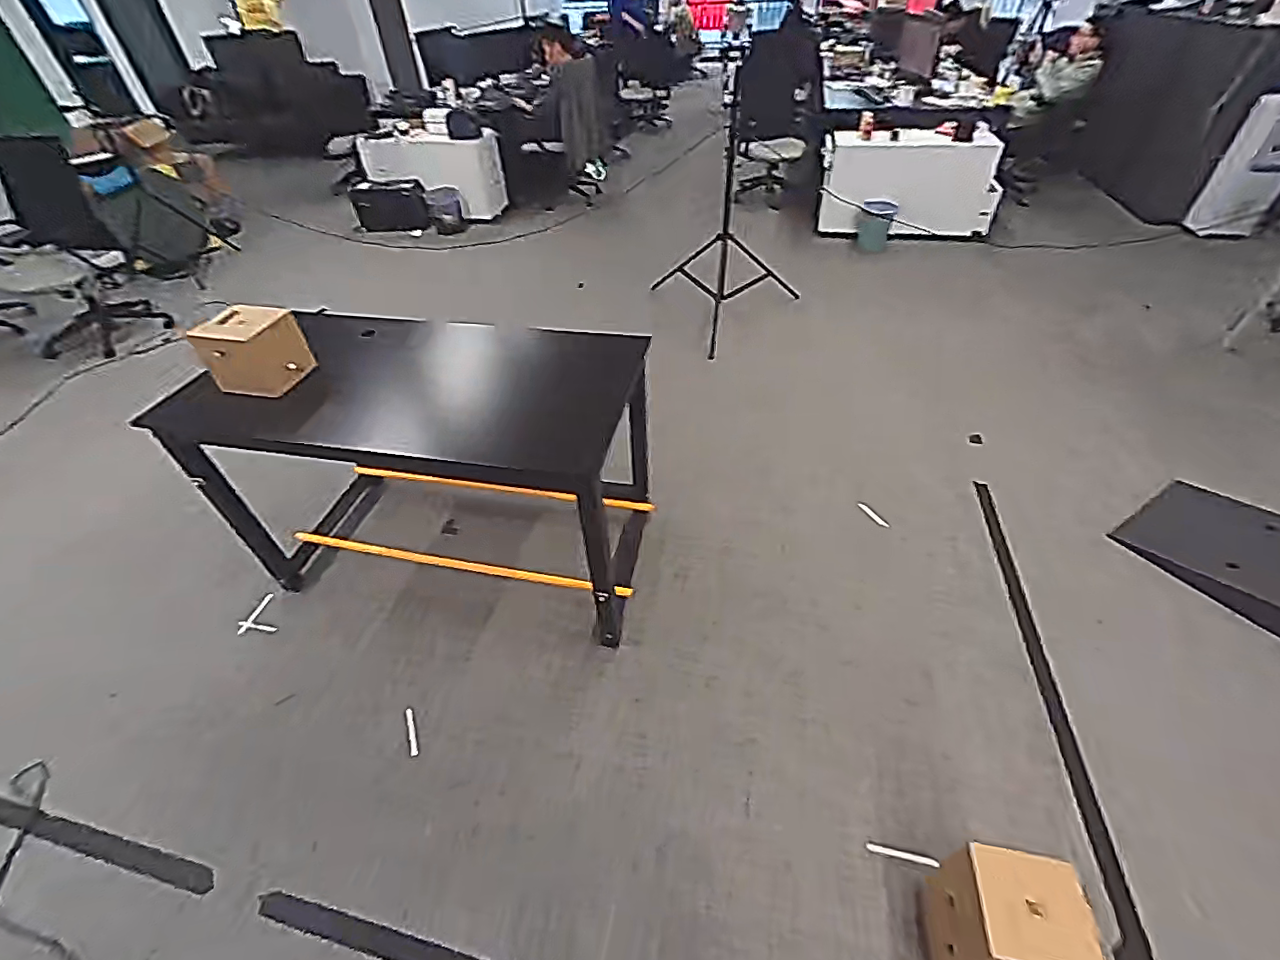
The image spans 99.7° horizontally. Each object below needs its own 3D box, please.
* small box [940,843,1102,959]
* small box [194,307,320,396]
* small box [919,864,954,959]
[{"bbox_3d":[0.669,0.785,0.969,0.179,0.176,0.168,6,43,11],"label":"small box"},{"bbox_3d":[-0.994,-0.337,1.421,0.179,0.176,0.168,8,45,10],"label":"small box"},{"bbox_3d":[0.680,0.905,1.077,0.168,0.176,0.179,6,44,9],"label":"small box"}]
